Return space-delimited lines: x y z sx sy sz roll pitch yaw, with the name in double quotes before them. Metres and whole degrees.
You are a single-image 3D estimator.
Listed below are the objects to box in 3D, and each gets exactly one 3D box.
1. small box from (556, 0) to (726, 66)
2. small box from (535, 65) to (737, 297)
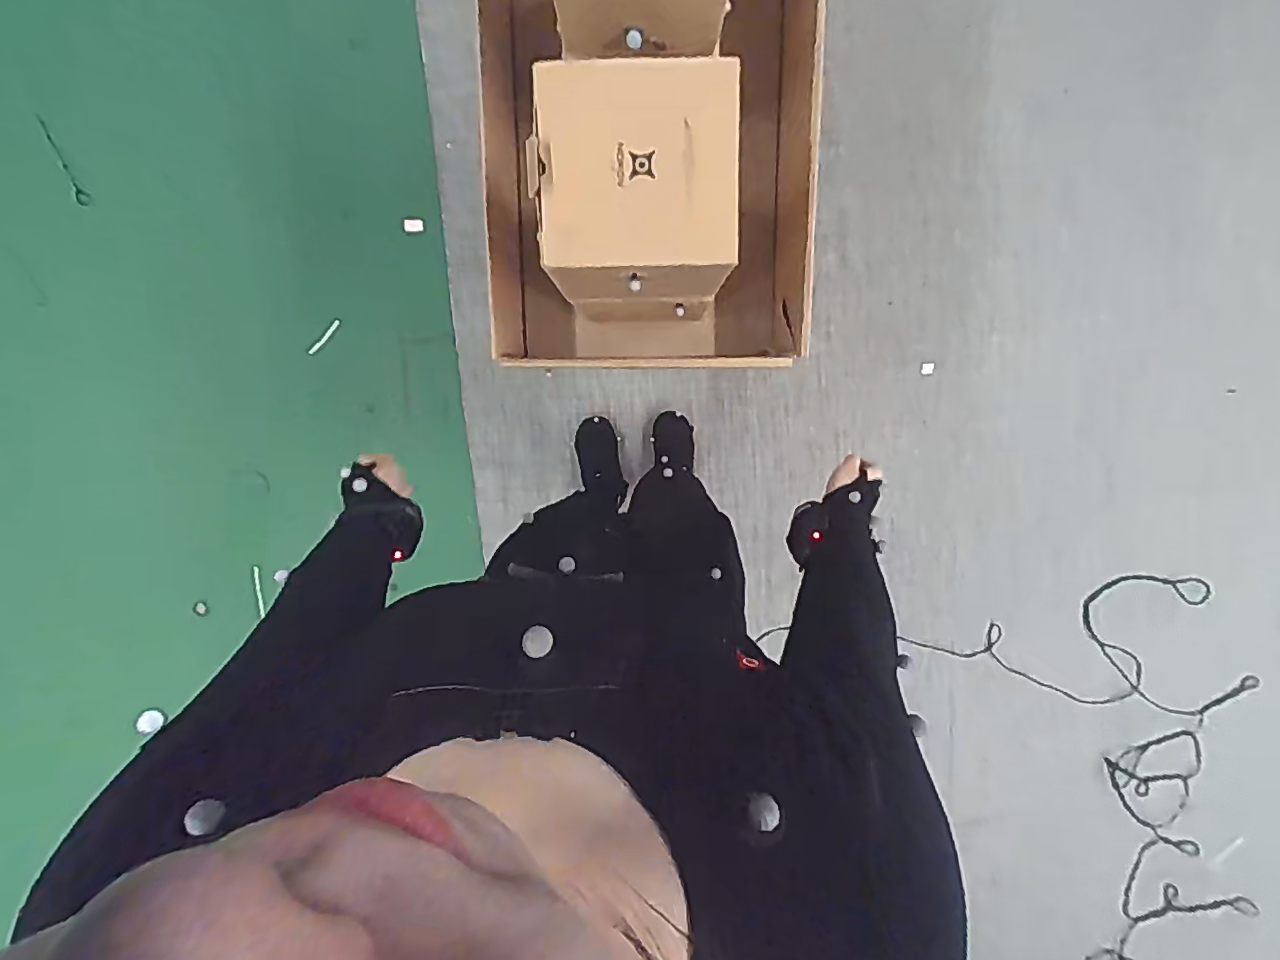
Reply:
"small box" 0.000 -0.535 0.506 0.168 0.176 0.179 1 102 -1
"small box" -0.003 -0.285 0.553 0.179 0.176 0.168 -1 100 -1
